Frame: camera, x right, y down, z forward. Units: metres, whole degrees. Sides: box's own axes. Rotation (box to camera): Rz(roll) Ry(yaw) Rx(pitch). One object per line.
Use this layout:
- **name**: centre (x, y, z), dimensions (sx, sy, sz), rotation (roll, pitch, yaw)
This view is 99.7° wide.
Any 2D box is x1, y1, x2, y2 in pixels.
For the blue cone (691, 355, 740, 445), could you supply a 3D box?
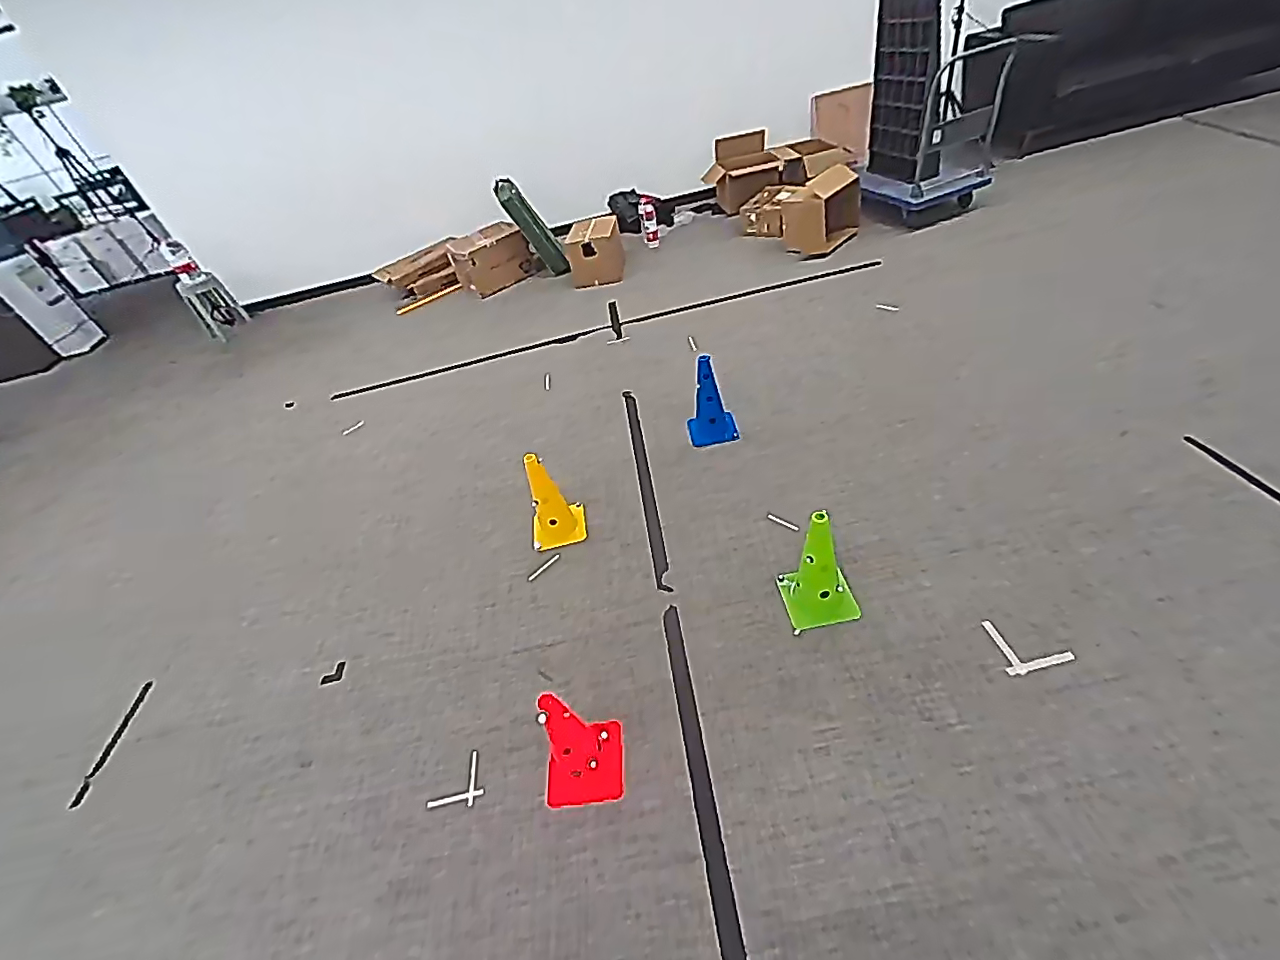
- **blue cone**: centre (0.294, -0.340, 2.222), dimensions (0.192, 0.380, 0.193), rotation (-9, 42, 4)

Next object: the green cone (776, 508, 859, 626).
- **green cone**: centre (0.505, 0.221, 1.525), dimensions (0.202, 0.368, 0.200), rotation (-12, 42, 2)

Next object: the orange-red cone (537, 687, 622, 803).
- **orange-red cone**: centre (-0.179, 0.604, 1.303), dimensions (0.199, 0.360, 0.198), rotation (-10, 40, 6)
